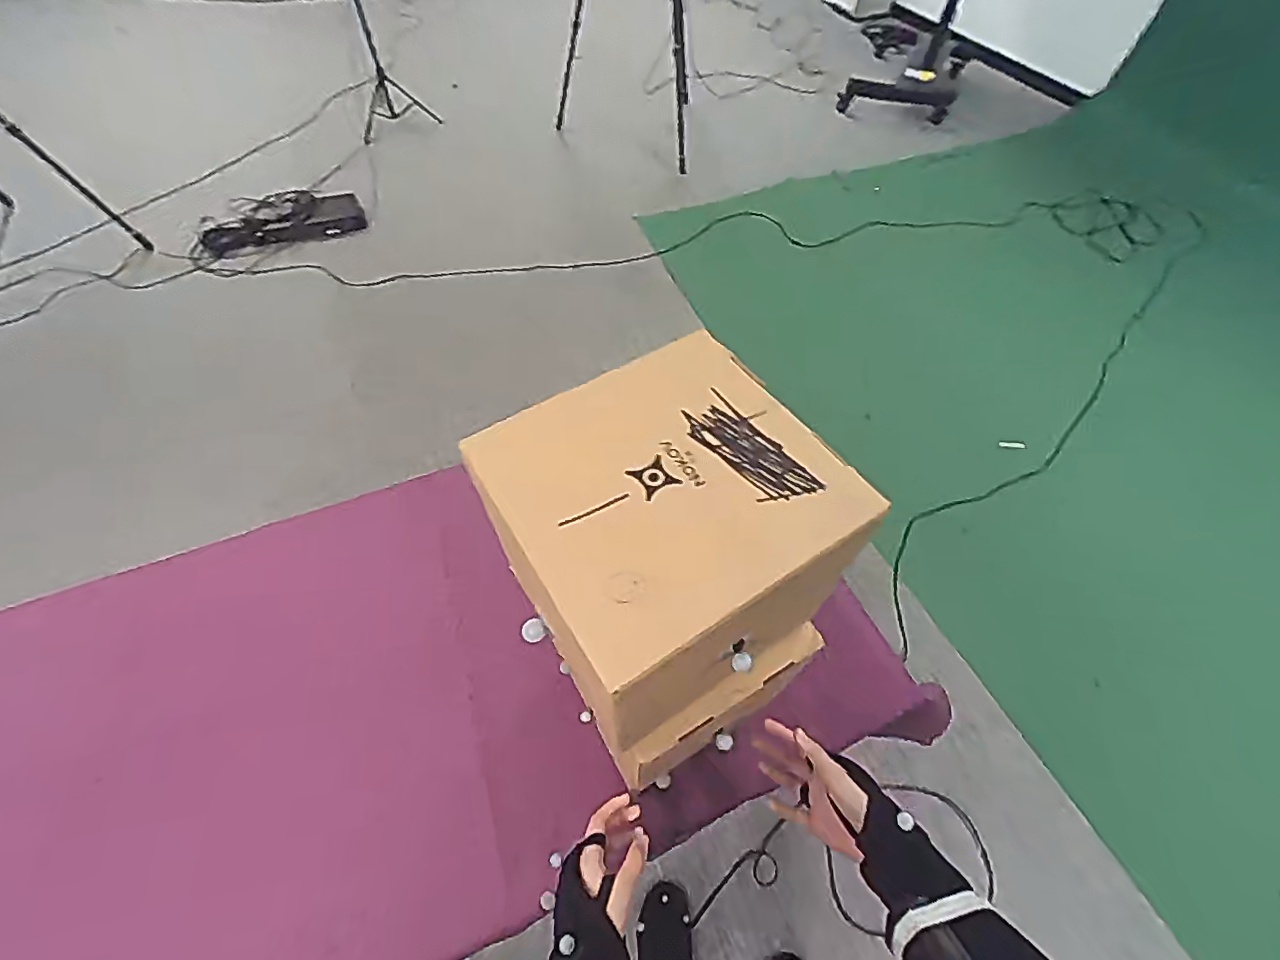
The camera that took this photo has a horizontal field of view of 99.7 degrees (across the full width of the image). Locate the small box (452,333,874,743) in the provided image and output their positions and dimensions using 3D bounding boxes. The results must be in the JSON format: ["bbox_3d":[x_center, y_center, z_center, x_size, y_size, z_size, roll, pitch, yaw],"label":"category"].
[{"bbox_3d":[0.008,0.042,0.357,0.179,0.176,0.168,-29,60,-18],"label":"small box"}]

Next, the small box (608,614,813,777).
[{"bbox_3d":[0.019,0.139,0.491,0.168,0.176,0.179,-26,60,-16],"label":"small box"}]
